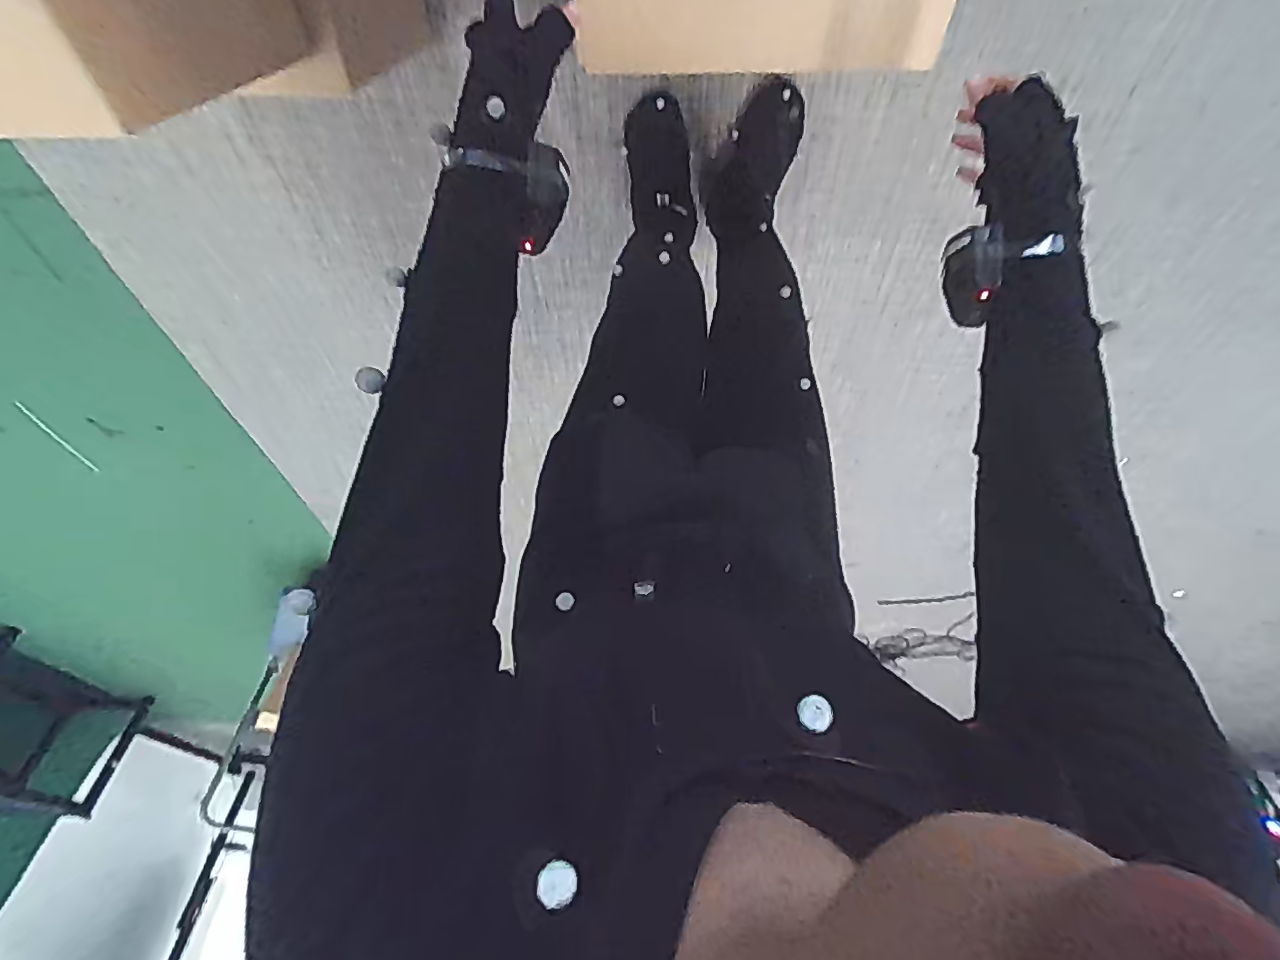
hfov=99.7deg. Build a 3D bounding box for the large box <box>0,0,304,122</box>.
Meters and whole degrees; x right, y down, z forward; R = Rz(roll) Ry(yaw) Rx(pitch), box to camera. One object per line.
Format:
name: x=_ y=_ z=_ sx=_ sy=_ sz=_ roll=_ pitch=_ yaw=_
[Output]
large box: x=-0.586 y=-0.495 z=0.420 sx=0.408 sy=0.320 sz=0.320 roll=2 pitch=136 yaw=2
